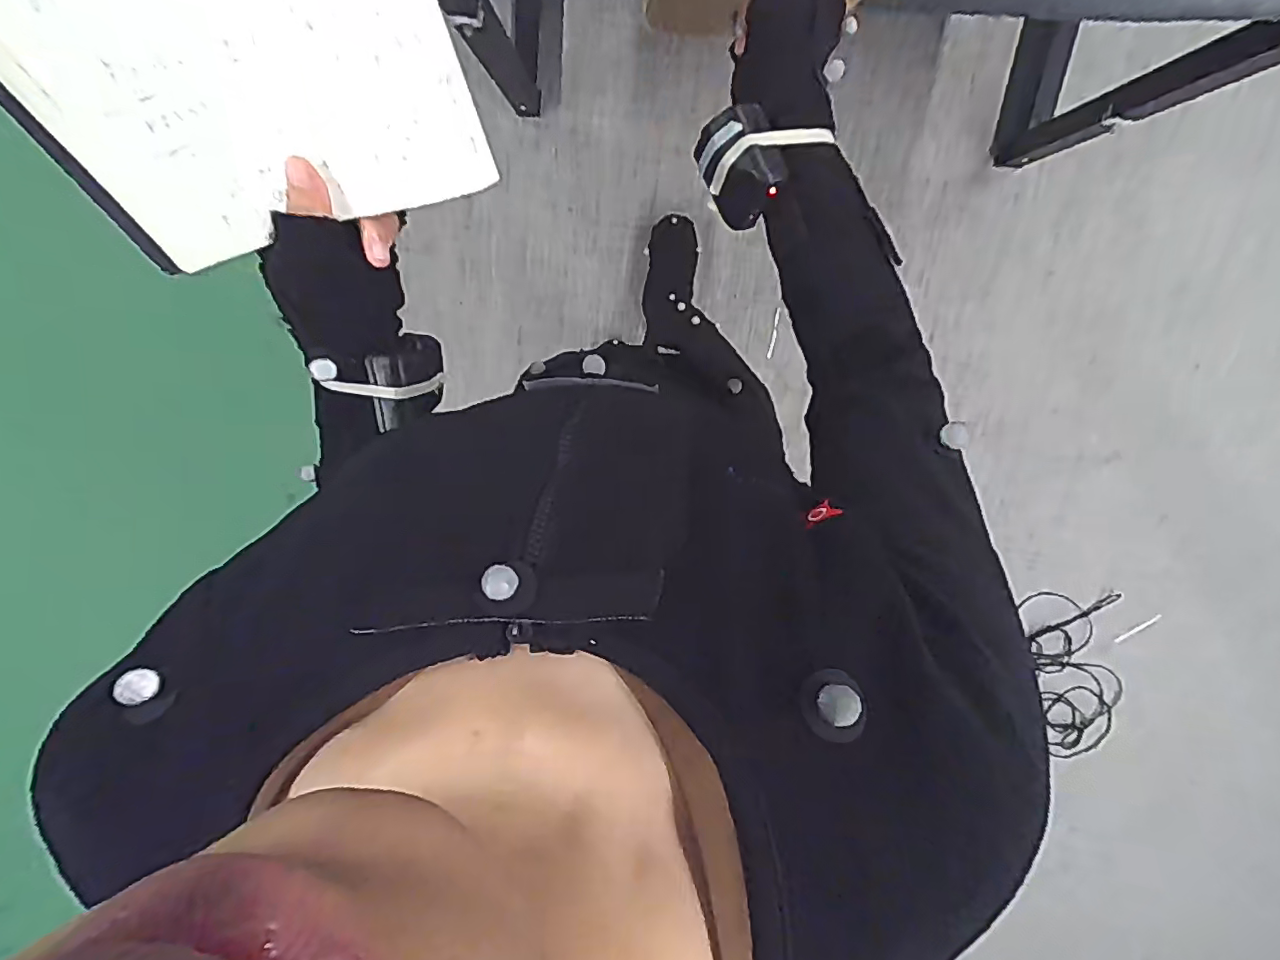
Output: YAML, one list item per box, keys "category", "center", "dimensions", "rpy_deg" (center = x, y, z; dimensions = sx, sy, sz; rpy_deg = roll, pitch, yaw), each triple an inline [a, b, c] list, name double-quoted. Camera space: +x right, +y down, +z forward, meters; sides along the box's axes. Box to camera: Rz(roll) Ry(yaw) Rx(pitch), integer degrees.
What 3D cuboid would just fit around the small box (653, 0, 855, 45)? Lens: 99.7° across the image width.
- category: "small box"
  center: [0.101, -0.475, 0.411]
  dimensions: [0.168, 0.176, 0.179]
  rpy_deg: [1, 113, -5]
